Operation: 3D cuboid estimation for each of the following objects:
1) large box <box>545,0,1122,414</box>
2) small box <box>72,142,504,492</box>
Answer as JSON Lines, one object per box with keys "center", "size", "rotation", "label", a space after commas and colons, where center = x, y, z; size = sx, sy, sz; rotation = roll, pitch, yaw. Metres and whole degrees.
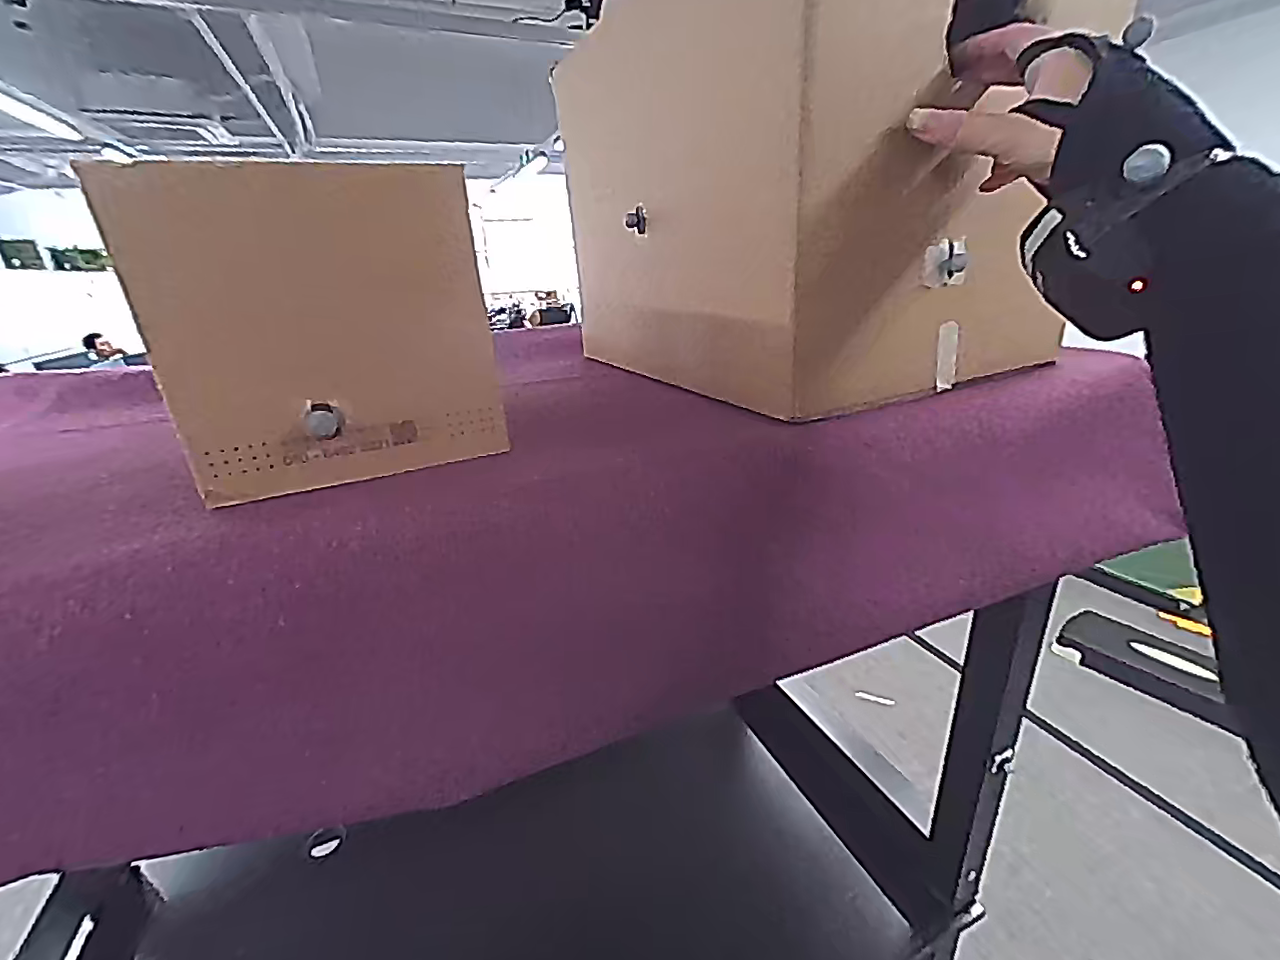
{"center": [0.135, -0.269, 0.529], "size": [0.320, 0.320, 0.408], "rotation": [-14, 23, -23], "label": "large box"}
{"center": [-0.200, -0.106, 0.358], "size": [0.168, 0.176, 0.179], "rotation": [-14, 24, -23], "label": "small box"}
